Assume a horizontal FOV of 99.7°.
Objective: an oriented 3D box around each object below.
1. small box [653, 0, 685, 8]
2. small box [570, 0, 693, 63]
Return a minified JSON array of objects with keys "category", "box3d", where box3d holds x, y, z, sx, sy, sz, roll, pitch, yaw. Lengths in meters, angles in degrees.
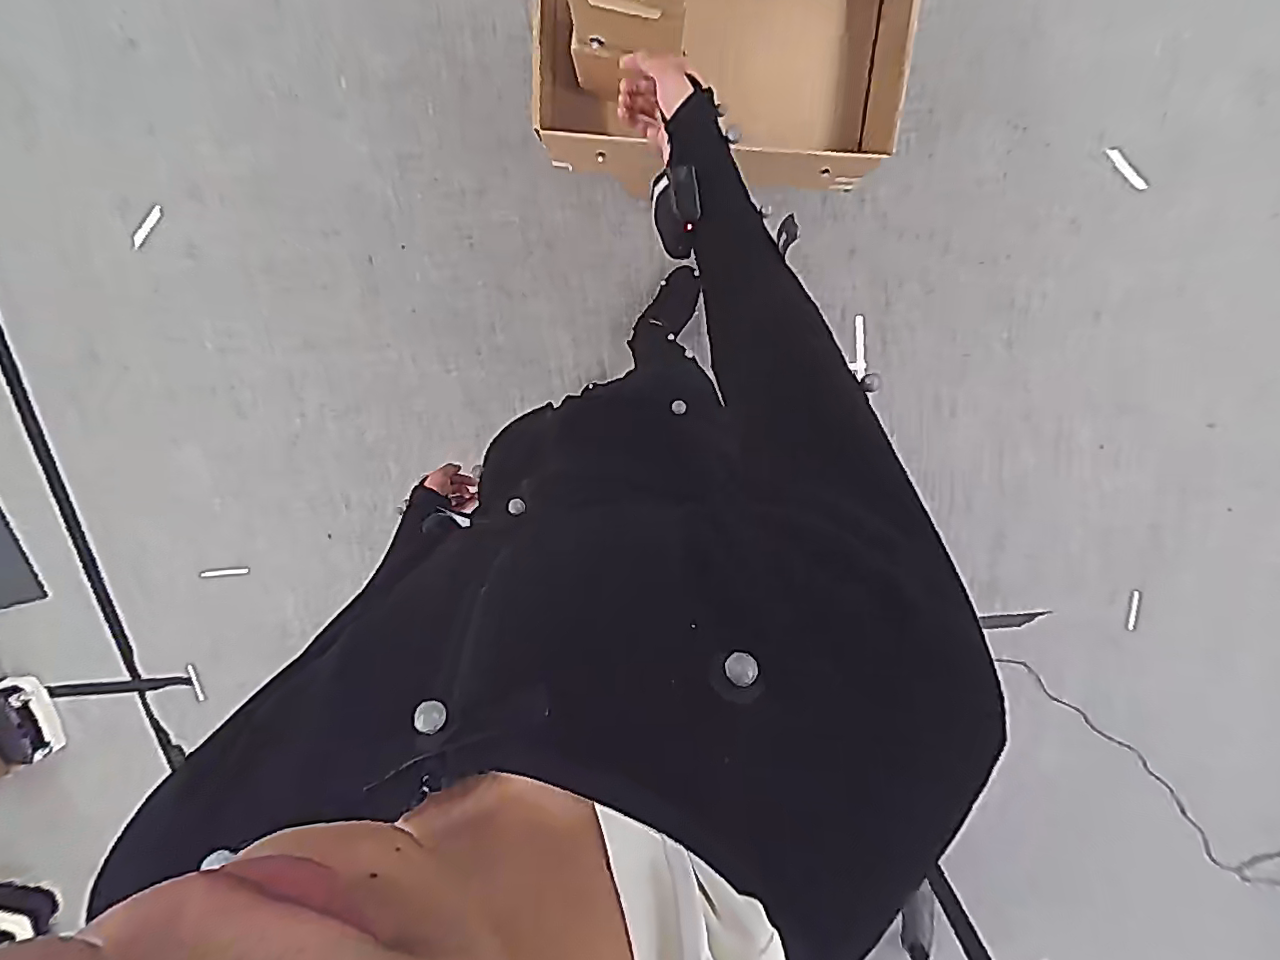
[{"category":"small box","box3d":[0.000,-0.682,0.597,0.168,0.176,0.179,15,105,-3]},{"category":"small box","box3d":[-0.001,-0.730,0.755,0.168,0.176,0.179,11,104,-3]}]
